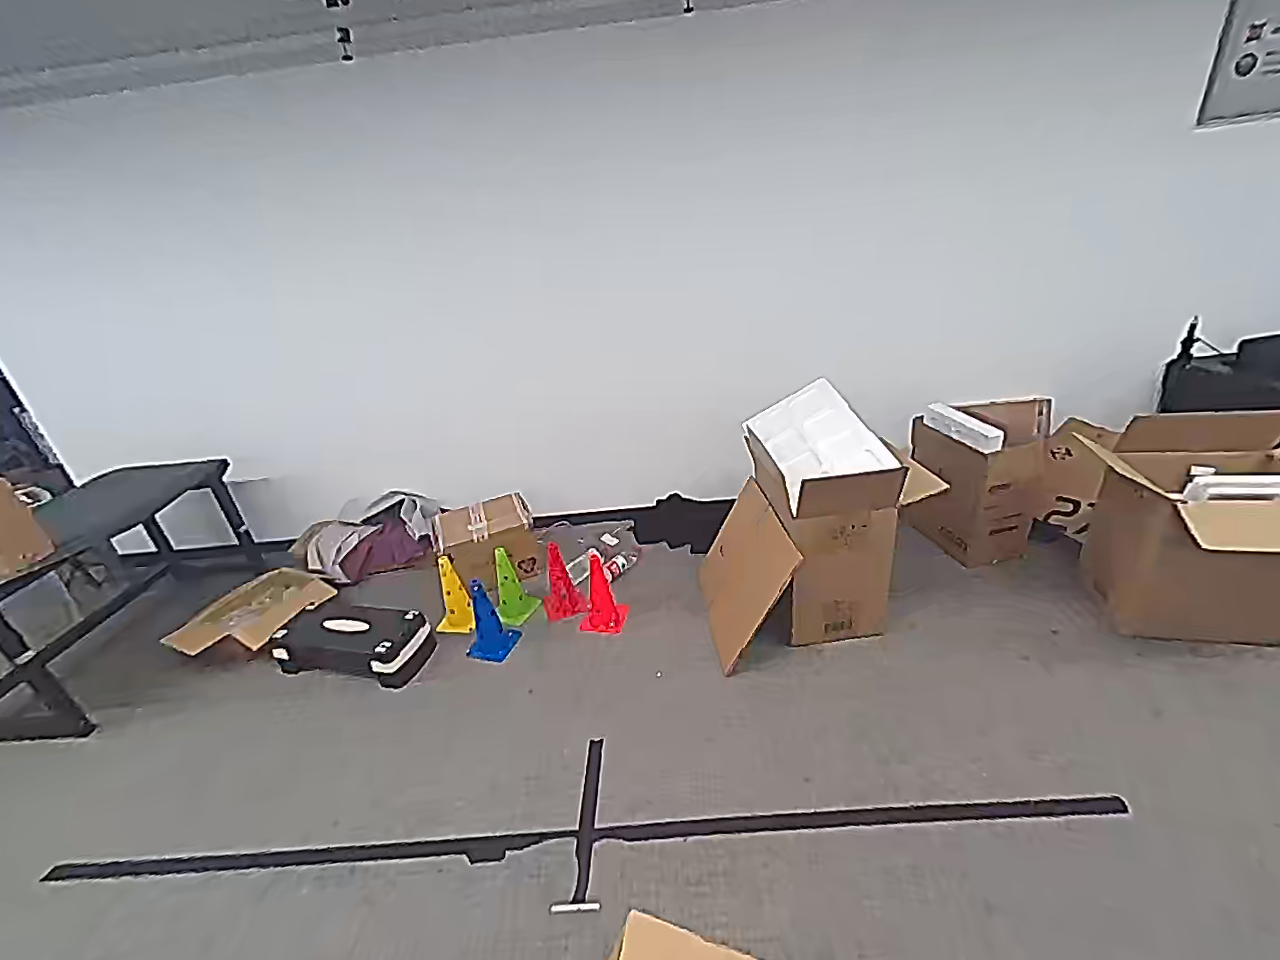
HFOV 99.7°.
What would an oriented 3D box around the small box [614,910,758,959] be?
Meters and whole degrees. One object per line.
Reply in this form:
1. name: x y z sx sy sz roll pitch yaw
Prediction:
1. small box: 0.038 0.578 0.528 0.179 0.176 0.168 16 31 8
